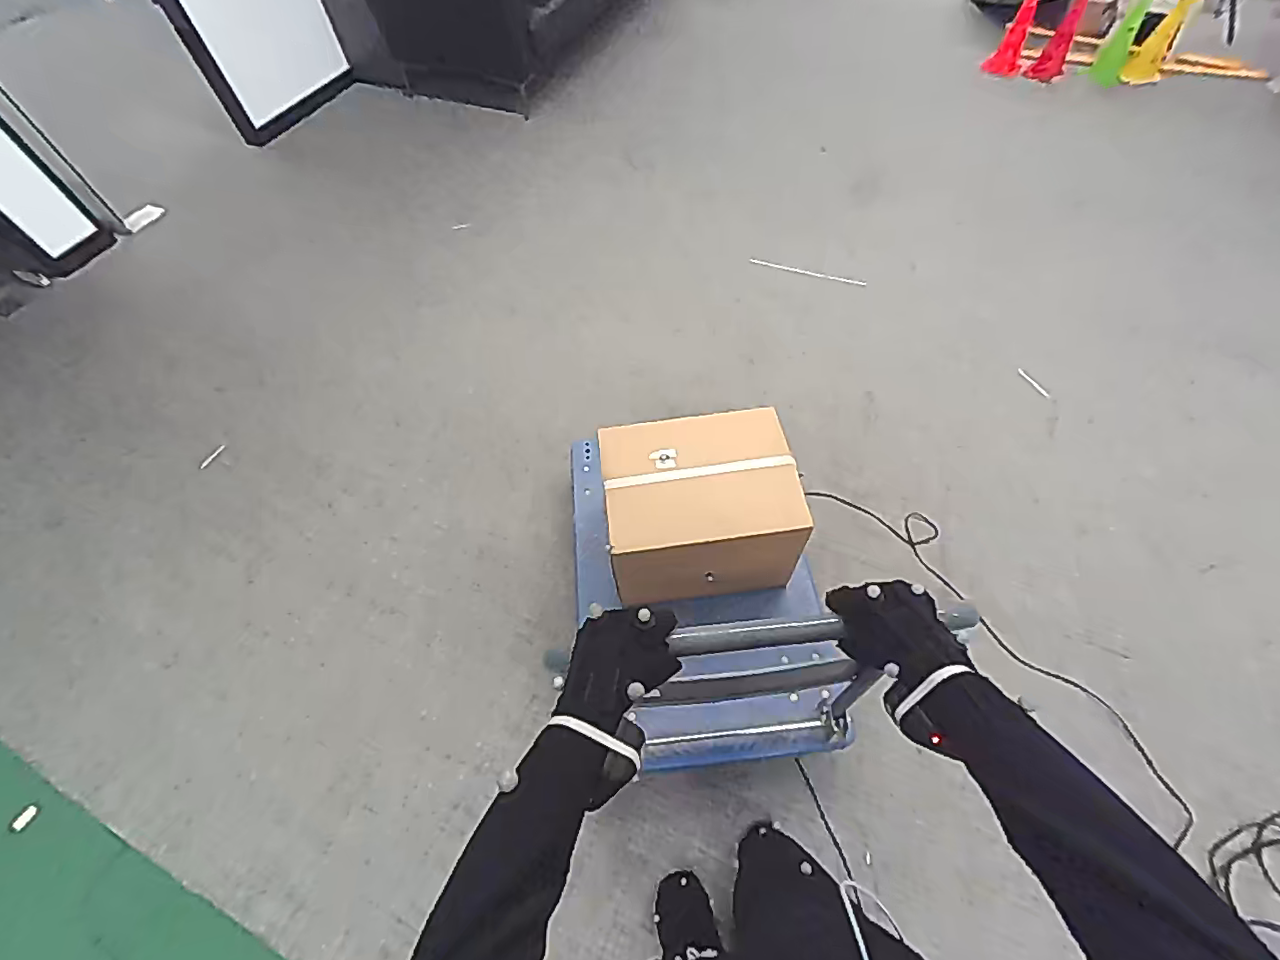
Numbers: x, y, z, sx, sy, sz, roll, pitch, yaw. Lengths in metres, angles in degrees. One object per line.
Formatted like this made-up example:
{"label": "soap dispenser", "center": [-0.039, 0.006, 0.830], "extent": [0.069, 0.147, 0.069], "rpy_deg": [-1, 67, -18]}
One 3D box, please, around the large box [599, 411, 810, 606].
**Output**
{"label": "large box", "center": [0.133, 0.077, 1.271], "extent": [0.408, 0.320, 0.320], "rpy_deg": [-8, 57, -1]}
